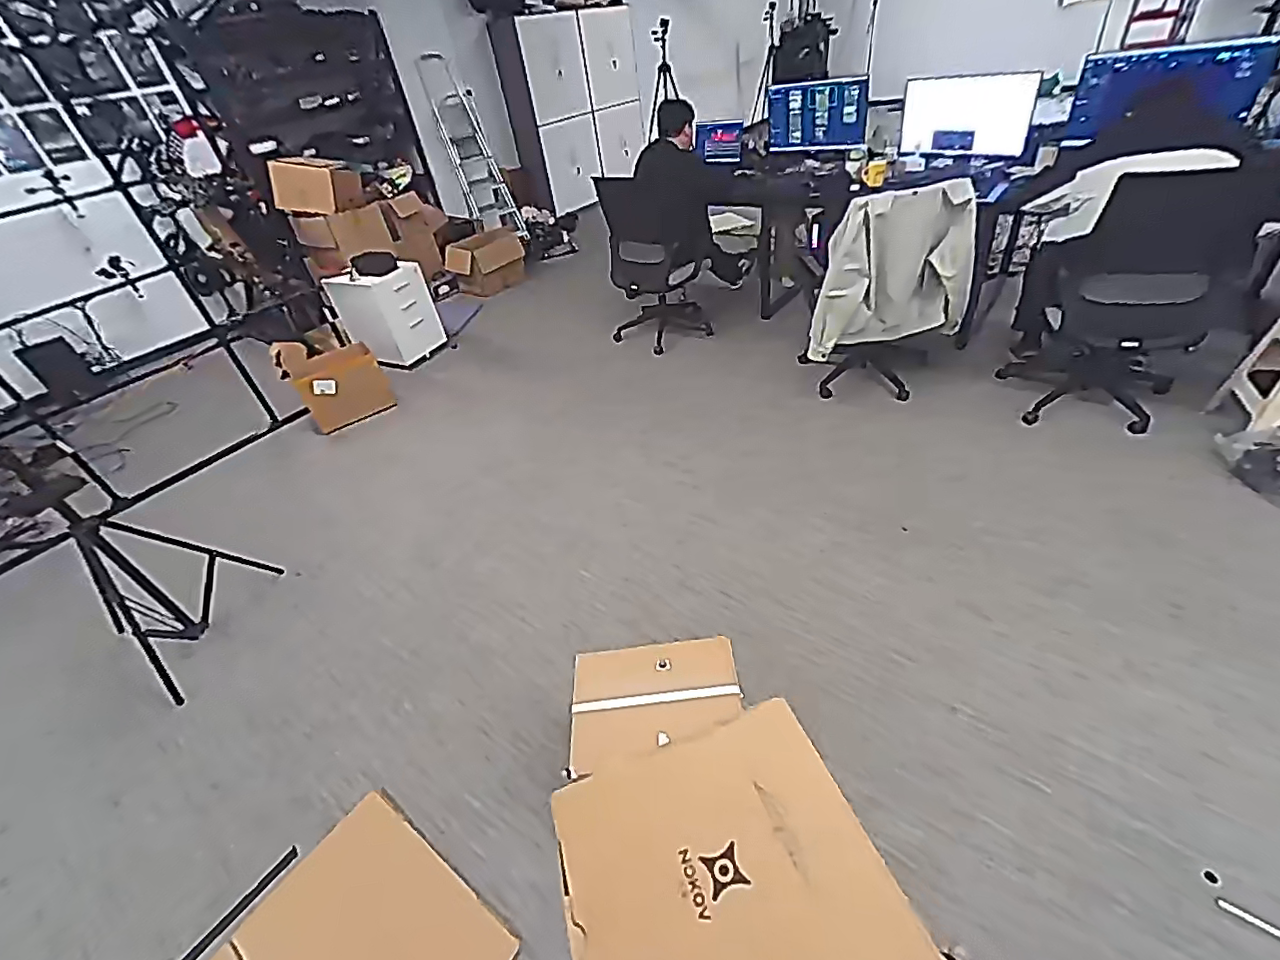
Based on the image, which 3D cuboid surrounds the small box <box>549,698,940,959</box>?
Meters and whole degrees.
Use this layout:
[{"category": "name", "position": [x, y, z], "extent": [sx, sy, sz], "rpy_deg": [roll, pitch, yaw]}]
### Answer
[{"category": "small box", "position": [0.059, 0.287, 0.354], "extent": [0.179, 0.176, 0.168], "rpy_deg": [-19, 37, -9]}]
